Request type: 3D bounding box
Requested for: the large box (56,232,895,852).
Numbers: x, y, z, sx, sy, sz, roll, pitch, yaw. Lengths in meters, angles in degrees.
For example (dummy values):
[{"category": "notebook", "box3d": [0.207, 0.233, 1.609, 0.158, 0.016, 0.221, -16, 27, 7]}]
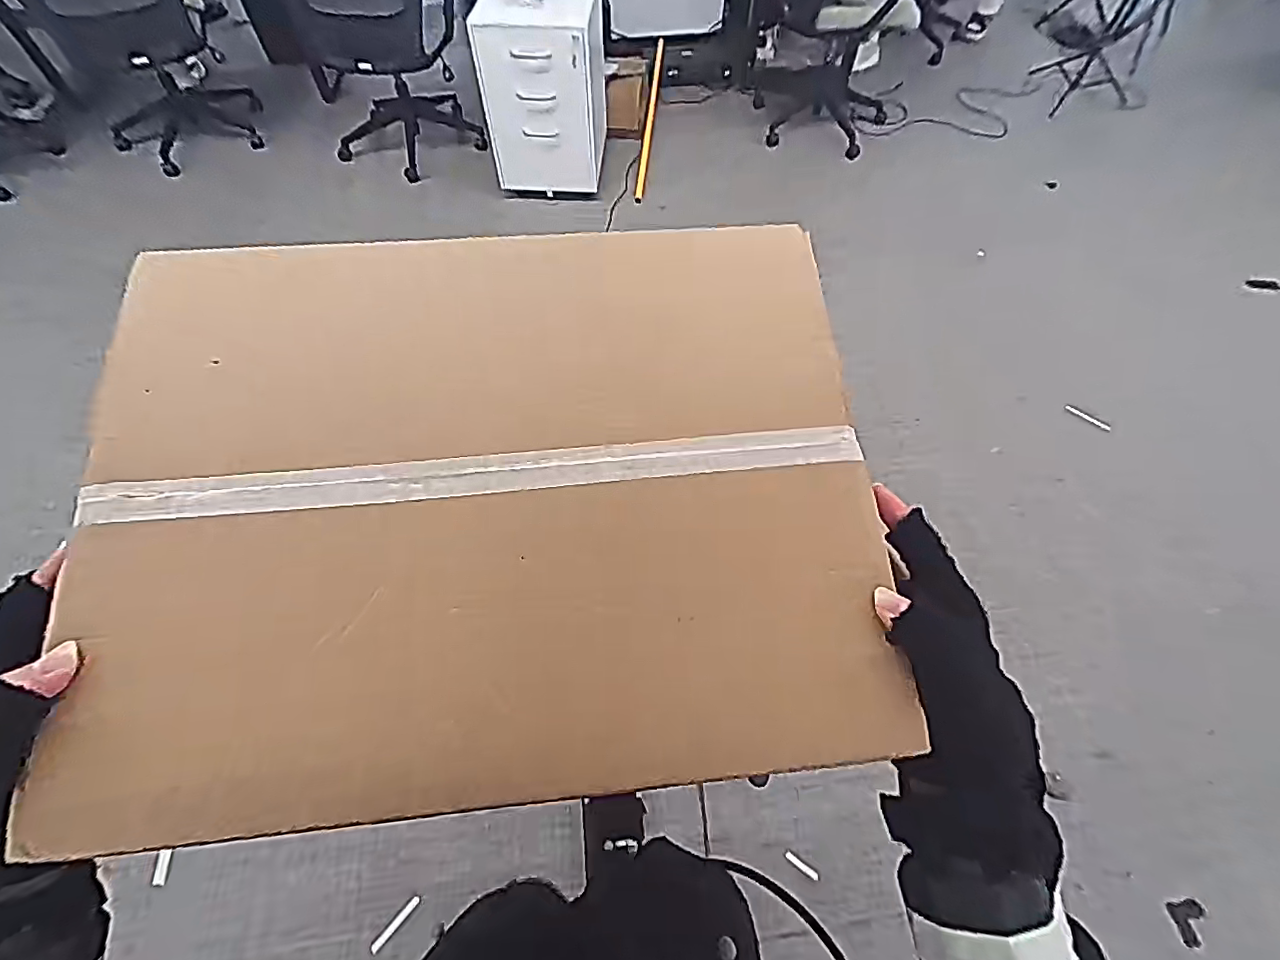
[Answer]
[{"category": "large box", "box3d": [-0.088, 0.045, 0.441, 0.408, 0.320, 0.320, -5, 72, -4]}]
